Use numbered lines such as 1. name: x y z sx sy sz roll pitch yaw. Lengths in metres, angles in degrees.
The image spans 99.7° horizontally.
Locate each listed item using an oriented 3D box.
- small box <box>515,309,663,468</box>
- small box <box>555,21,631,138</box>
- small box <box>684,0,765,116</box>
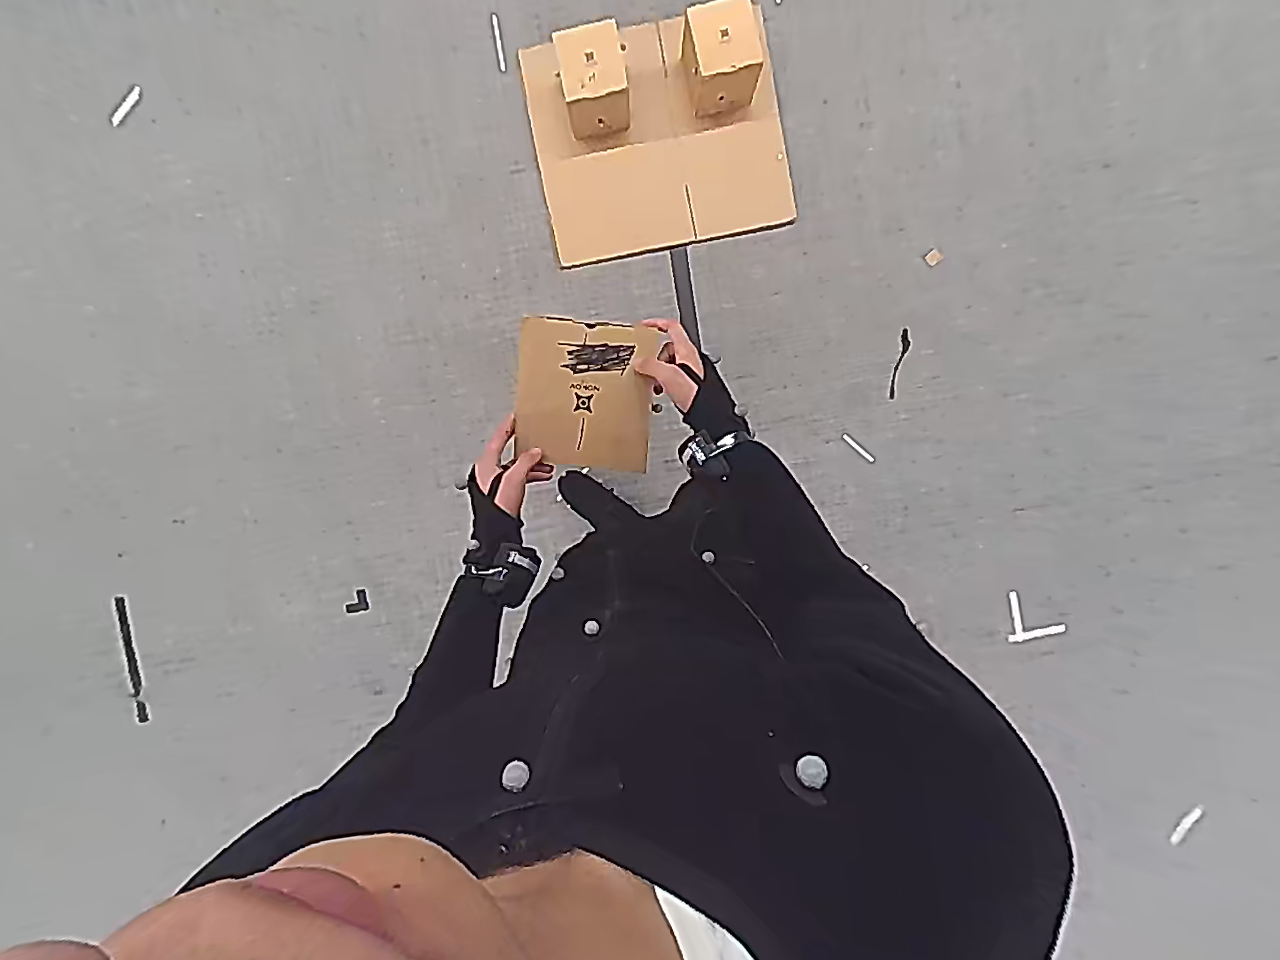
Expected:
1. small box: -0.063 -0.120 0.726 0.168 0.176 0.179 6 99 0
2. small box: -0.119 -1.062 1.446 0.168 0.176 0.179 -11 94 2
3. small box: 0.219 -1.126 1.445 0.168 0.176 0.179 -15 94 1
